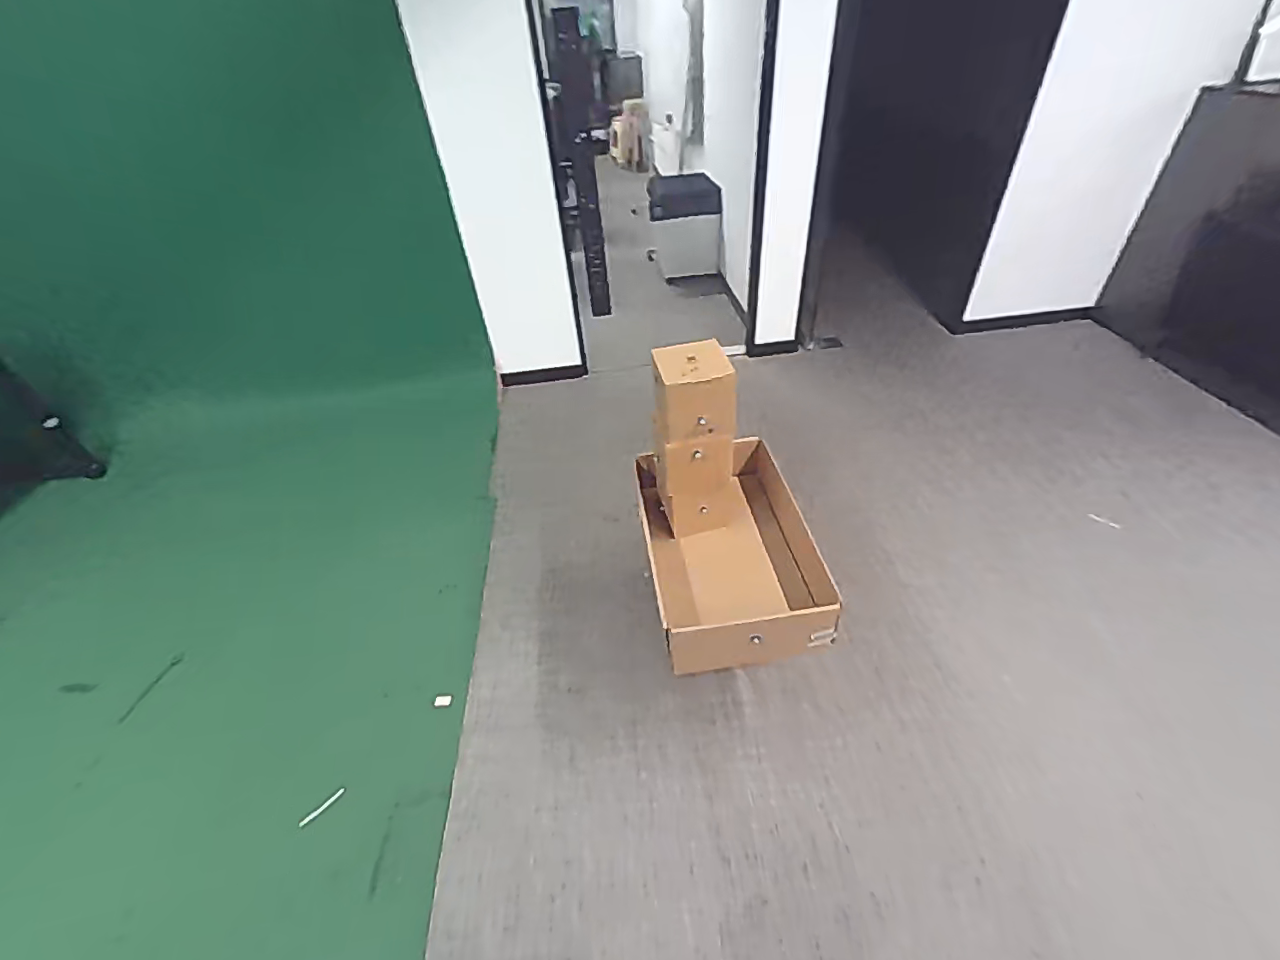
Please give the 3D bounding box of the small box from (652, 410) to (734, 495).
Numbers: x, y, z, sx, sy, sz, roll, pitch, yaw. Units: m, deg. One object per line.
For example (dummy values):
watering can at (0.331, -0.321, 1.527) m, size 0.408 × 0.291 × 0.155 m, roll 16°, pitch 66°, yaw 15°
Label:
small box at (0.135, -0.084, 1.419) m, size 0.179 × 0.176 × 0.168 m, roll -12°, pitch 42°, yaw -5°

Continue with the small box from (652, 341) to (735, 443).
small box at (0.127, -0.215, 1.318) m, size 0.168 × 0.176 × 0.179 m, roll -11°, pitch 42°, yaw -4°
